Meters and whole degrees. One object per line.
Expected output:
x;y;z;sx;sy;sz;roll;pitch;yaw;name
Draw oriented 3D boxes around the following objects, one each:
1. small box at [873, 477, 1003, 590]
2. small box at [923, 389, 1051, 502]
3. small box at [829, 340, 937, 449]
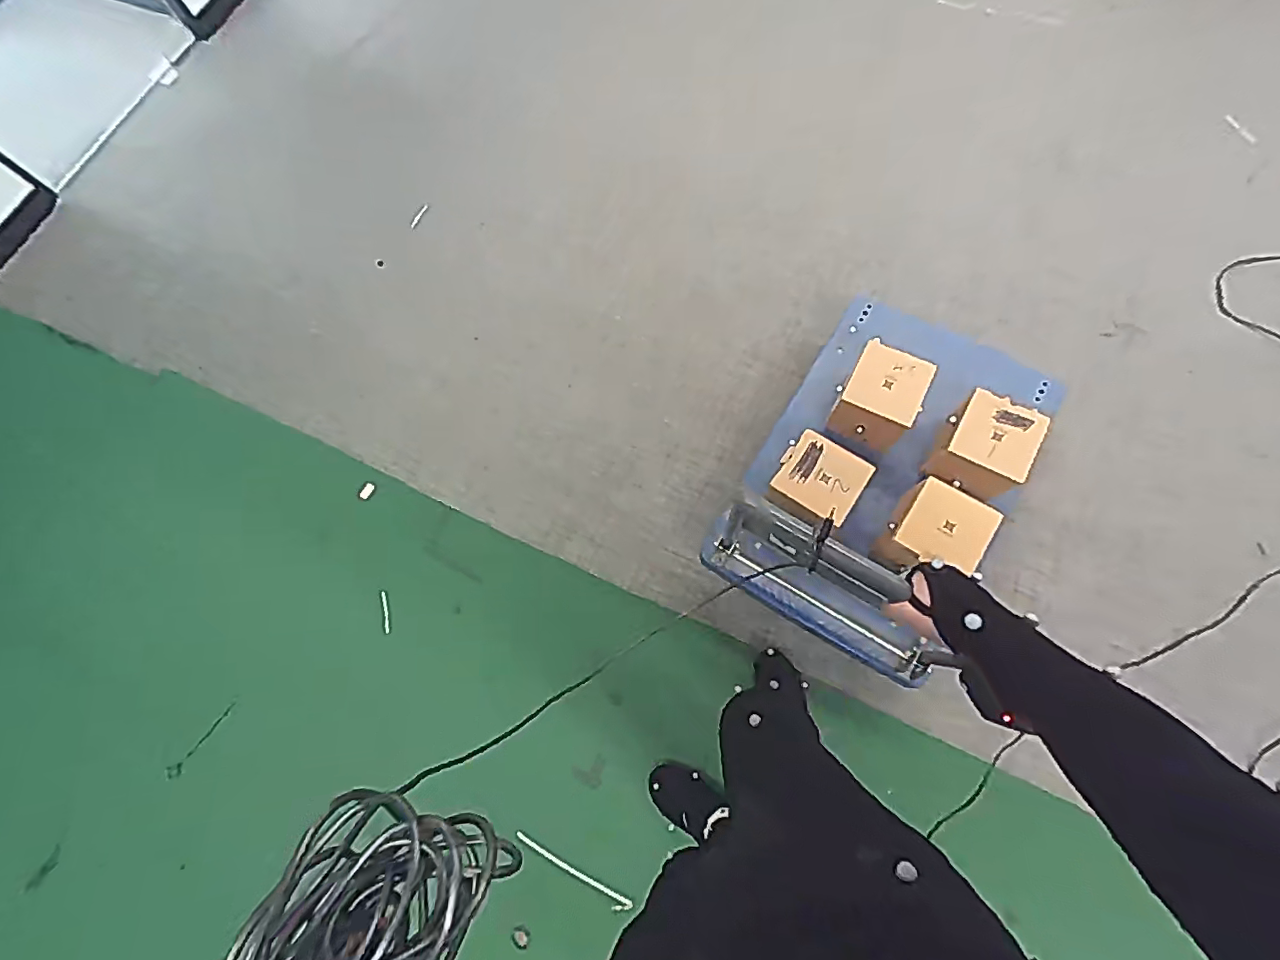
0.652;0.125;1.207;0.168;0.176;0.179;33;79;14;small box
0.793;-0.074;1.255;0.168;0.176;0.179;29;78;14;small box
0.579;-0.199;1.314;0.168;0.176;0.179;27;77;12;small box
